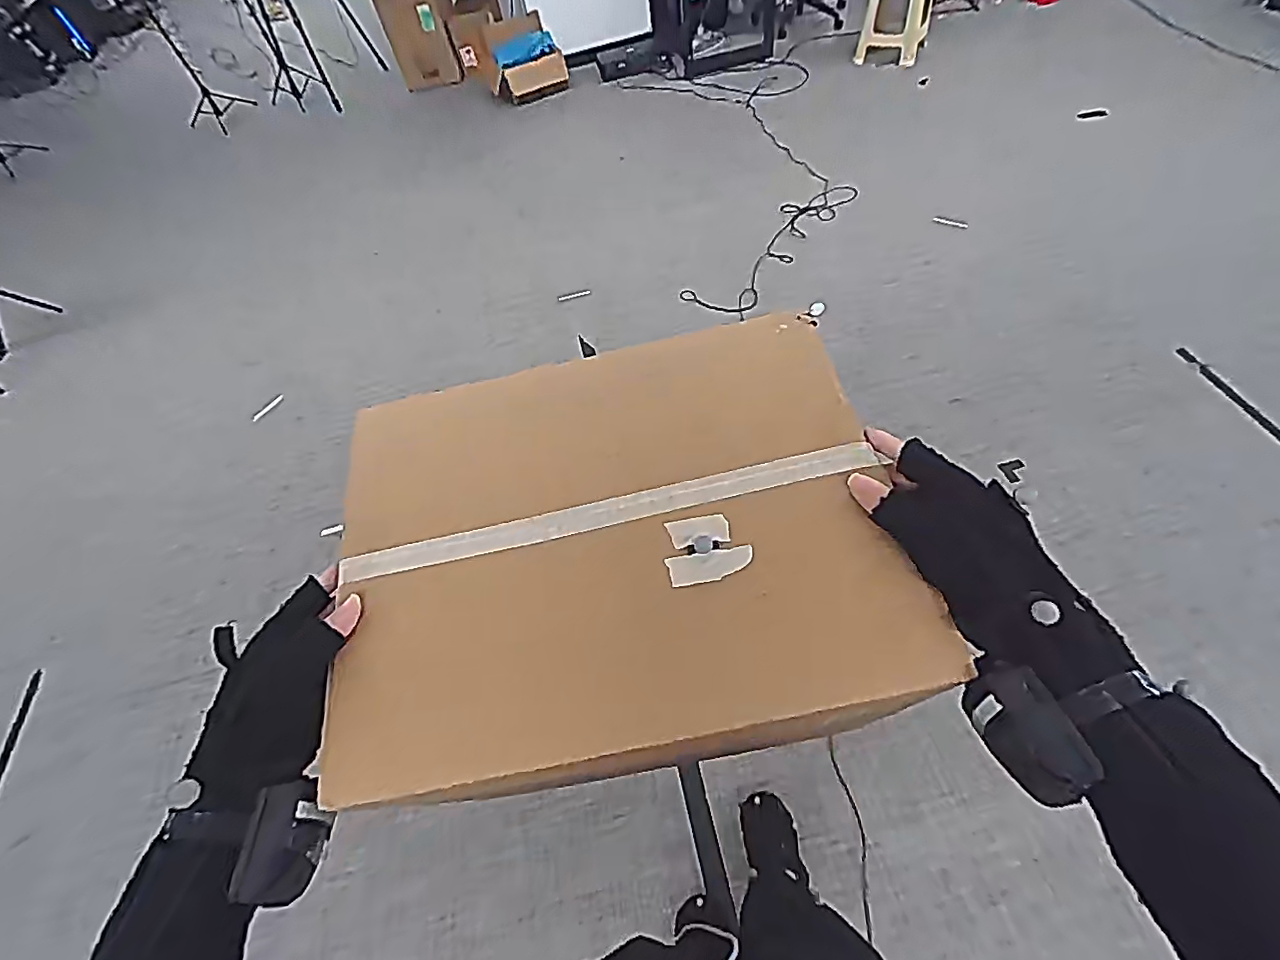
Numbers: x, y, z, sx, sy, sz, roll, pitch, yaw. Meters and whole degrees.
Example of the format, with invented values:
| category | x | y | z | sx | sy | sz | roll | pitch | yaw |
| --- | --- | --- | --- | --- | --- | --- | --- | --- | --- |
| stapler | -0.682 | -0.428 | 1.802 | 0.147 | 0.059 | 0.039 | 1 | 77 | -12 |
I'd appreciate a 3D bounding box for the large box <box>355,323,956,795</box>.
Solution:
| category | x | y | z | sx | sy | sz | roll | pitch | yaw |
| --- | --- | --- | --- | --- | --- | --- | --- | --- | --- |
| large box | 0.000 | 0.102 | 0.545 | 0.408 | 0.320 | 0.320 | -12 | 60 | 1 |
